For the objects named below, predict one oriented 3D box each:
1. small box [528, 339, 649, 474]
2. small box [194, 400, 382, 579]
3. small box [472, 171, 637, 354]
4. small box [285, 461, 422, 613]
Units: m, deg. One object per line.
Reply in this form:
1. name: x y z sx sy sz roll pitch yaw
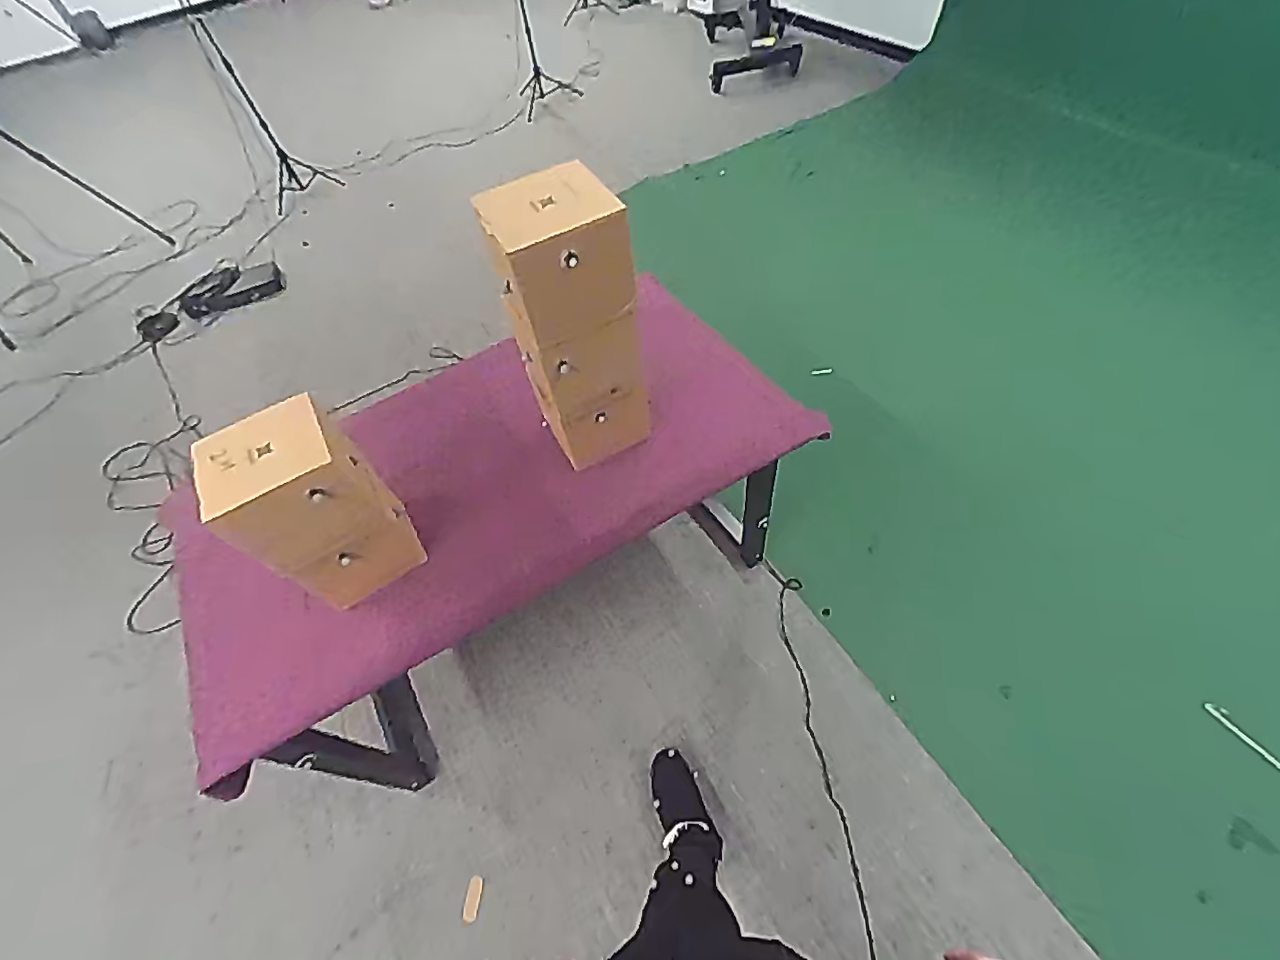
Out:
1. small box: -0.097 -0.142 1.082 0.179 0.176 0.168 -27 56 -12
2. small box: -0.520 0.018 0.821 0.179 0.176 0.168 -30 57 -13
3. small box: -0.120 -0.319 0.807 0.179 0.176 0.168 -25 56 -11
4. small box: -0.514 0.104 0.963 0.179 0.176 0.168 -32 58 -14
